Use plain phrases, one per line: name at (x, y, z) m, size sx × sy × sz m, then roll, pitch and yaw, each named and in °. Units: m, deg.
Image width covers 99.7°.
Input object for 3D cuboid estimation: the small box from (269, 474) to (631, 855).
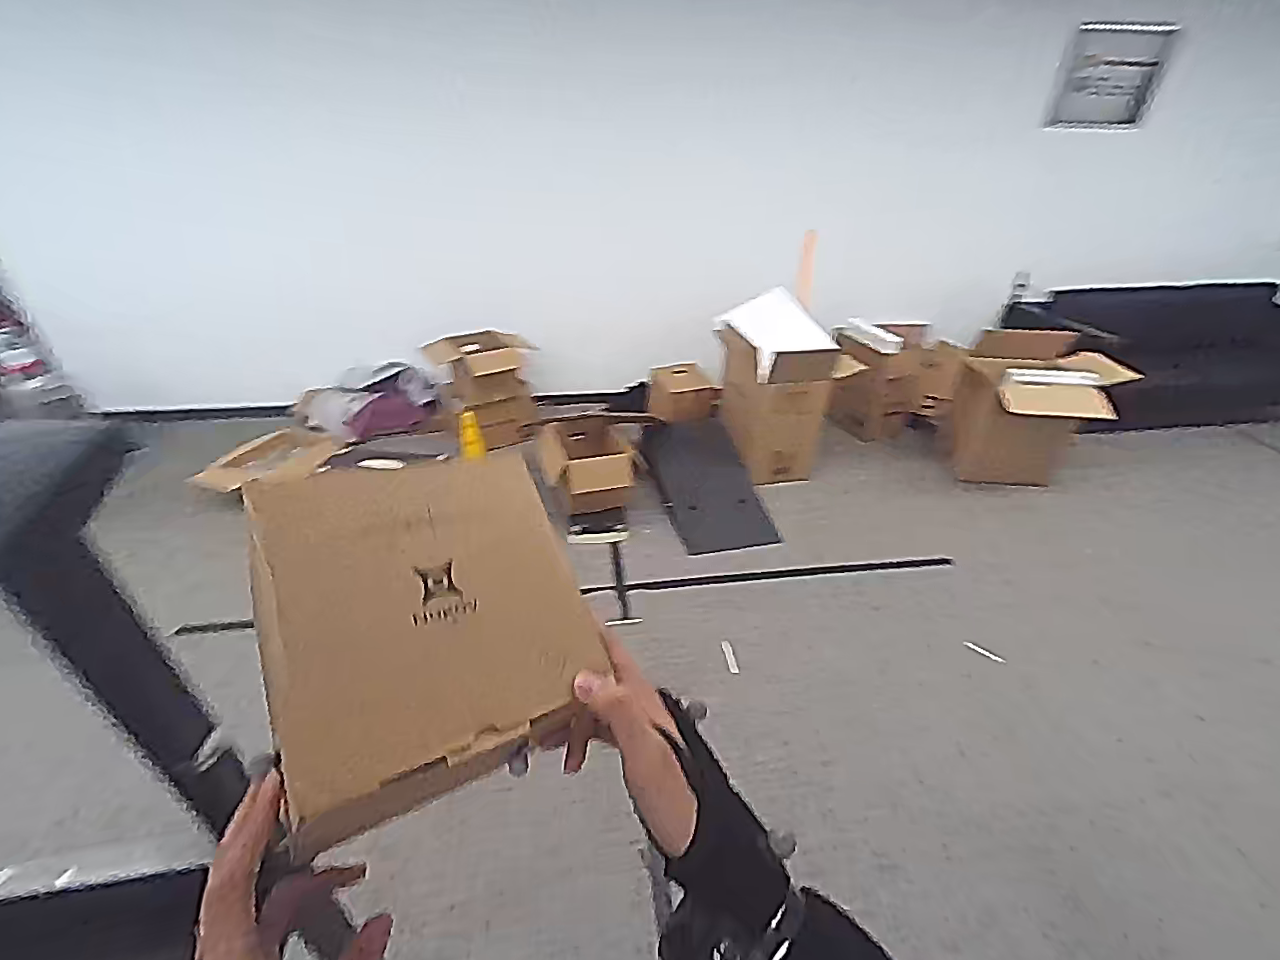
small box at (-0.139, 0.120, 0.363) m, size 0.168 × 0.176 × 0.179 m, roll -7°, pitch 57°, yaw -38°
